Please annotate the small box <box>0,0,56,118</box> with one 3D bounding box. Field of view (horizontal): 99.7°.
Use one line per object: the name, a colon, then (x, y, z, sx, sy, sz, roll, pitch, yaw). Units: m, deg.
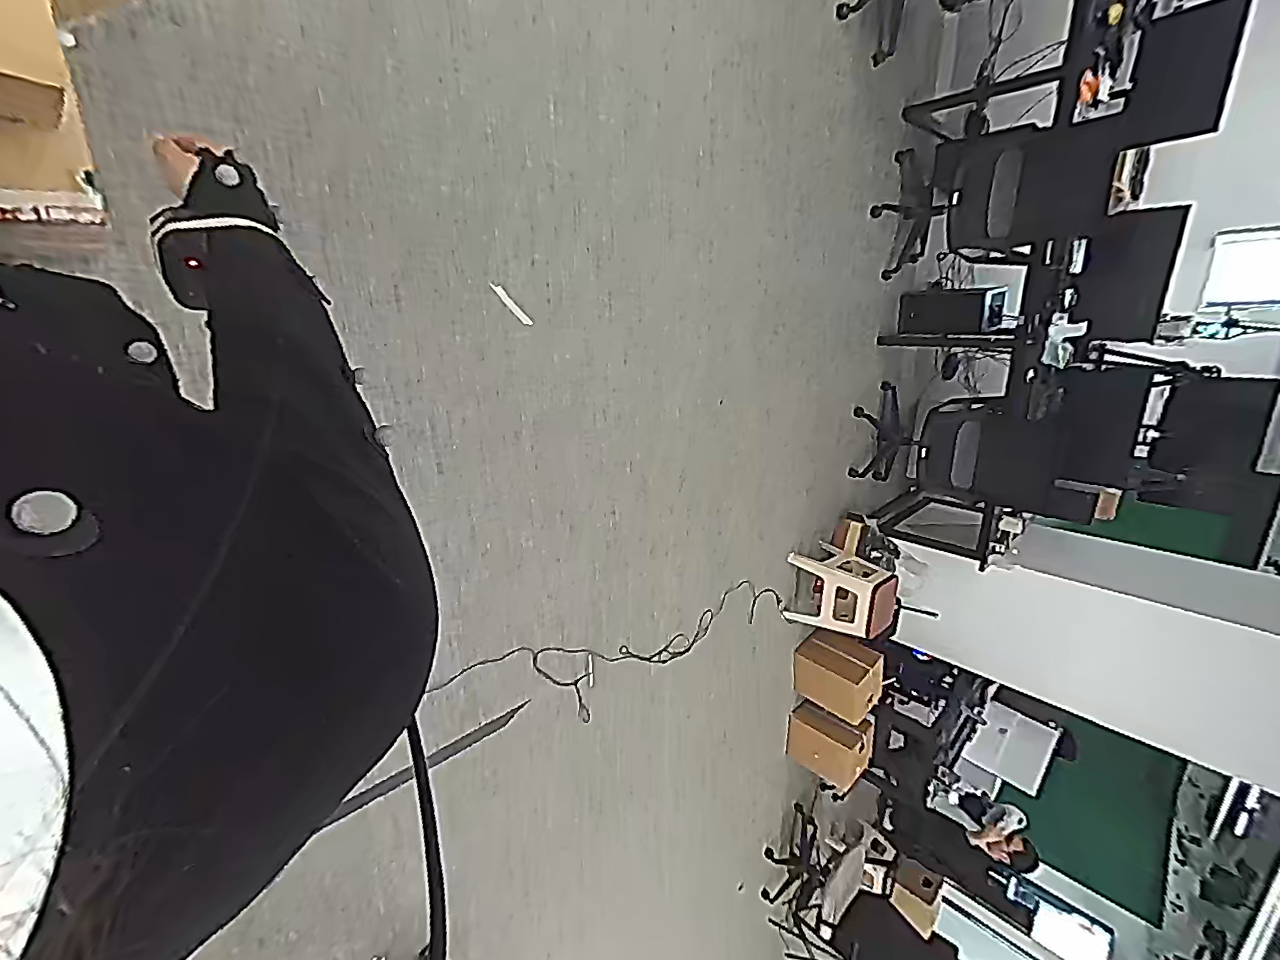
small box: (-0.619, -0.429, 0.445, 0.179, 0.176, 0.168, -10, 110, -47)
